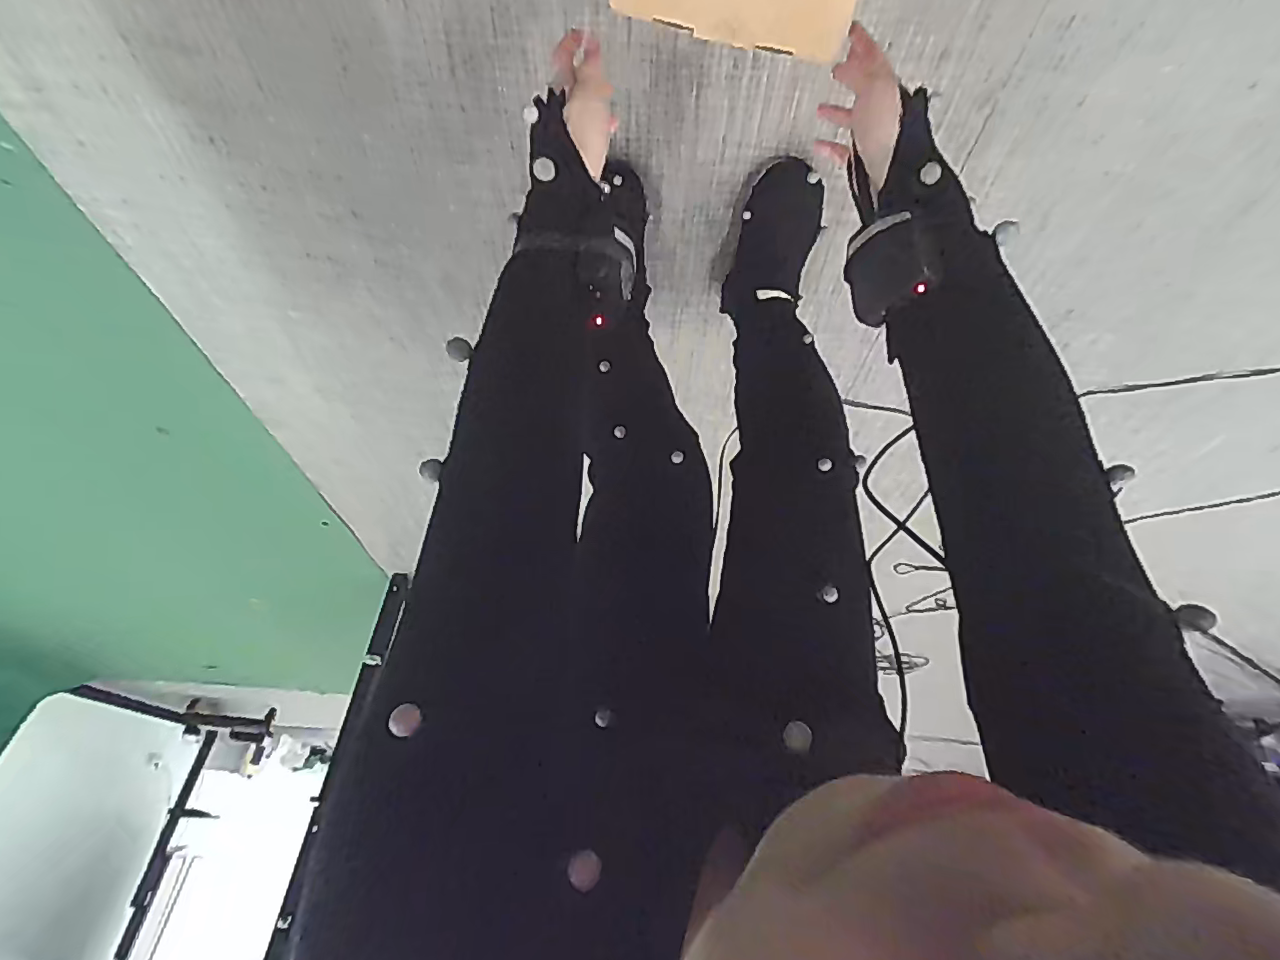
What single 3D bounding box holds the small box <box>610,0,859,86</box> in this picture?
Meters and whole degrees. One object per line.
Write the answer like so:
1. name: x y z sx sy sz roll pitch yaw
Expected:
1. small box: 0.077 -0.417 0.365 0.168 0.176 0.179 9 146 -6
